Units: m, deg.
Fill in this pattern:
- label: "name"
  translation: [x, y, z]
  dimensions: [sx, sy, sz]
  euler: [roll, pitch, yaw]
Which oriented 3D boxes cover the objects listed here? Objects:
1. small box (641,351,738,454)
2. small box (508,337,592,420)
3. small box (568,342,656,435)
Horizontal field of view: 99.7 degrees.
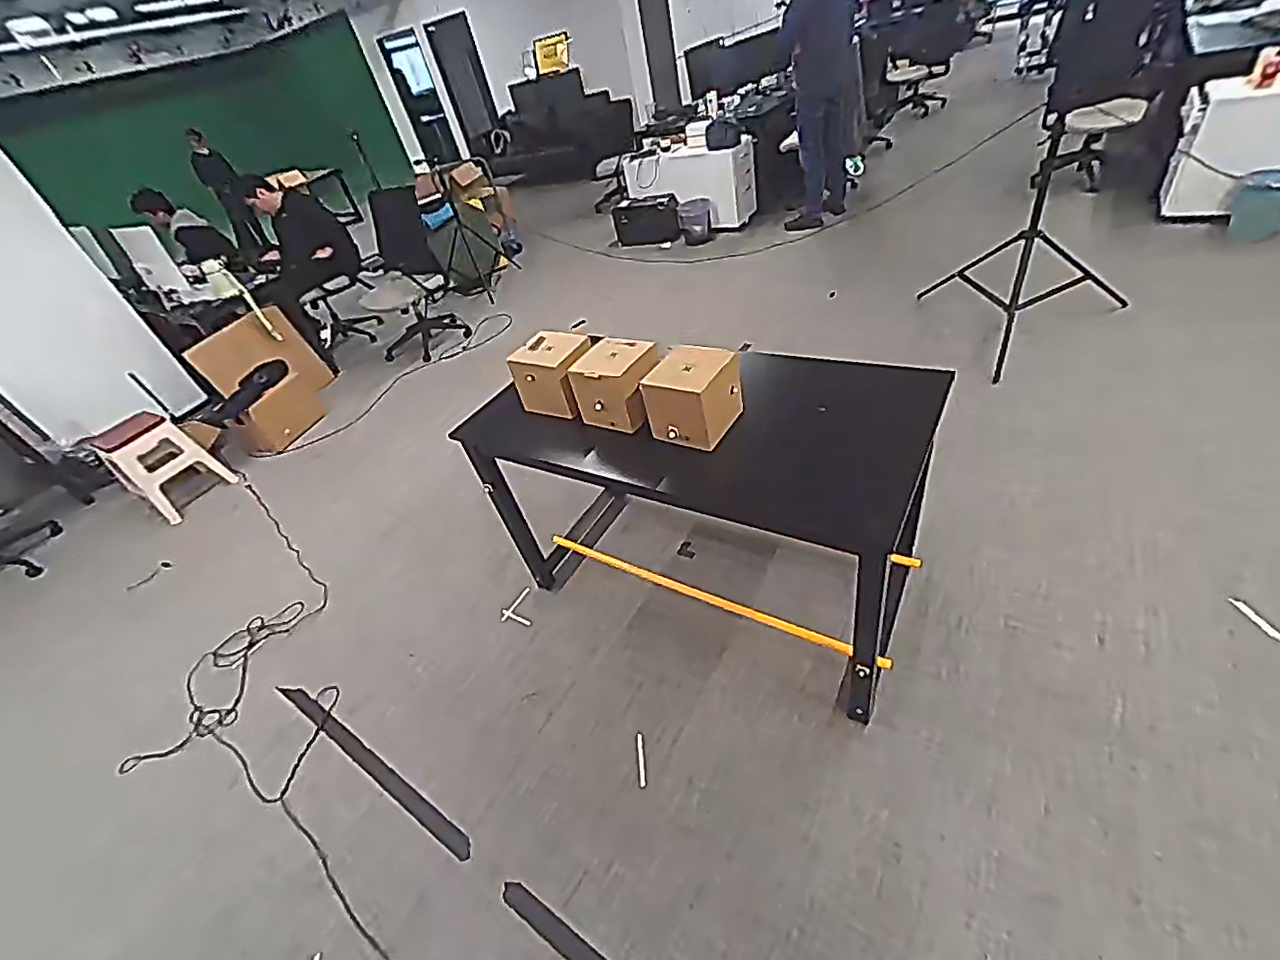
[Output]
- label: "small box"
  translation: [0.128, -0.189, 1.307]
  dimensions: [0.168, 0.176, 0.179]
  euler: [14, 49, 33]
- label: "small box"
  translation: [-0.236, -0.288, 1.535]
  dimensions: [0.179, 0.176, 0.168]
  euler: [14, 48, 29]
- label: "small box"
  translation: [-0.057, -0.241, 1.426]
  dimensions: [0.168, 0.176, 0.179]
  euler: [15, 49, 31]
